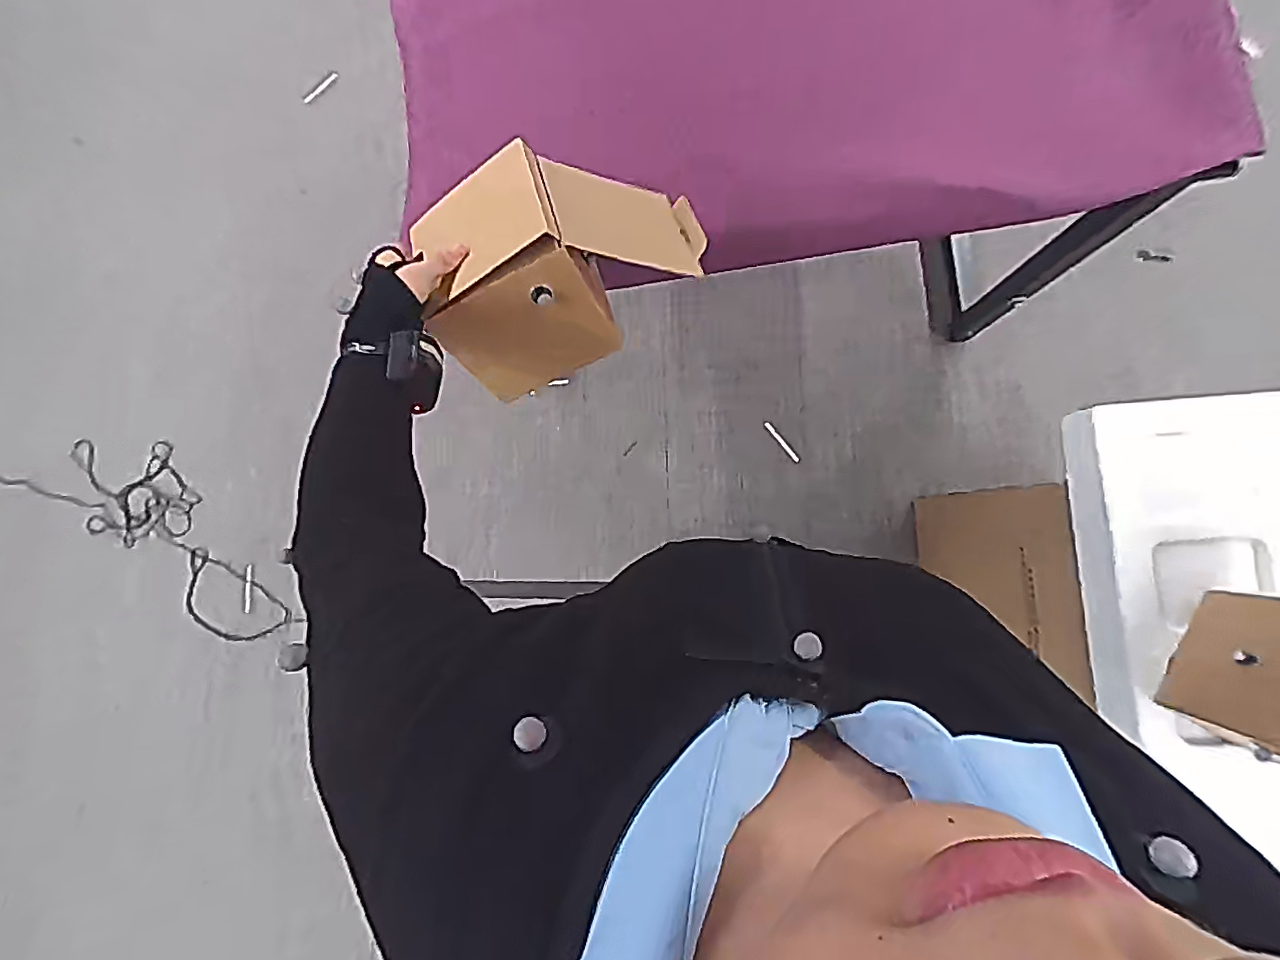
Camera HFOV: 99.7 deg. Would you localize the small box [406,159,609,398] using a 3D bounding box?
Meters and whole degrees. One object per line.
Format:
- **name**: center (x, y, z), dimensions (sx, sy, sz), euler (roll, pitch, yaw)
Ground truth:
- **small box**: center (-0.151, -0.232, 0.655), dimensions (0.179, 0.176, 0.168), euler (-24, 59, 10)
